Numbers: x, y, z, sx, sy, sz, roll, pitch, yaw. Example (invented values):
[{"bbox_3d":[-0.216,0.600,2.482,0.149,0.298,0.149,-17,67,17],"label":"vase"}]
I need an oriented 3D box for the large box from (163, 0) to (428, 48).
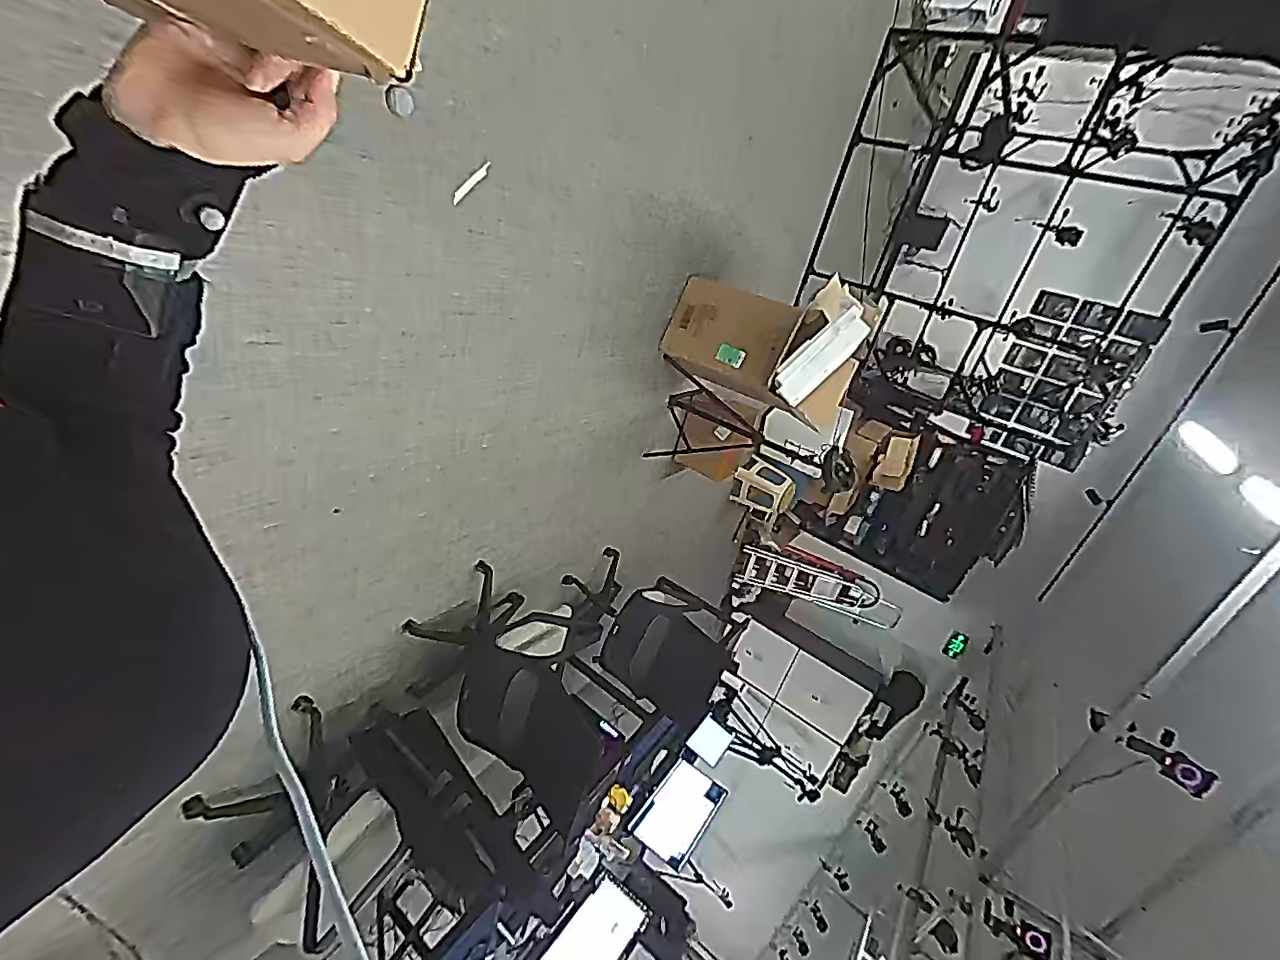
[{"bbox_3d":[-0.252,-0.375,0.079,0.408,0.320,0.320,-7,125,-61],"label":"large box"}]
